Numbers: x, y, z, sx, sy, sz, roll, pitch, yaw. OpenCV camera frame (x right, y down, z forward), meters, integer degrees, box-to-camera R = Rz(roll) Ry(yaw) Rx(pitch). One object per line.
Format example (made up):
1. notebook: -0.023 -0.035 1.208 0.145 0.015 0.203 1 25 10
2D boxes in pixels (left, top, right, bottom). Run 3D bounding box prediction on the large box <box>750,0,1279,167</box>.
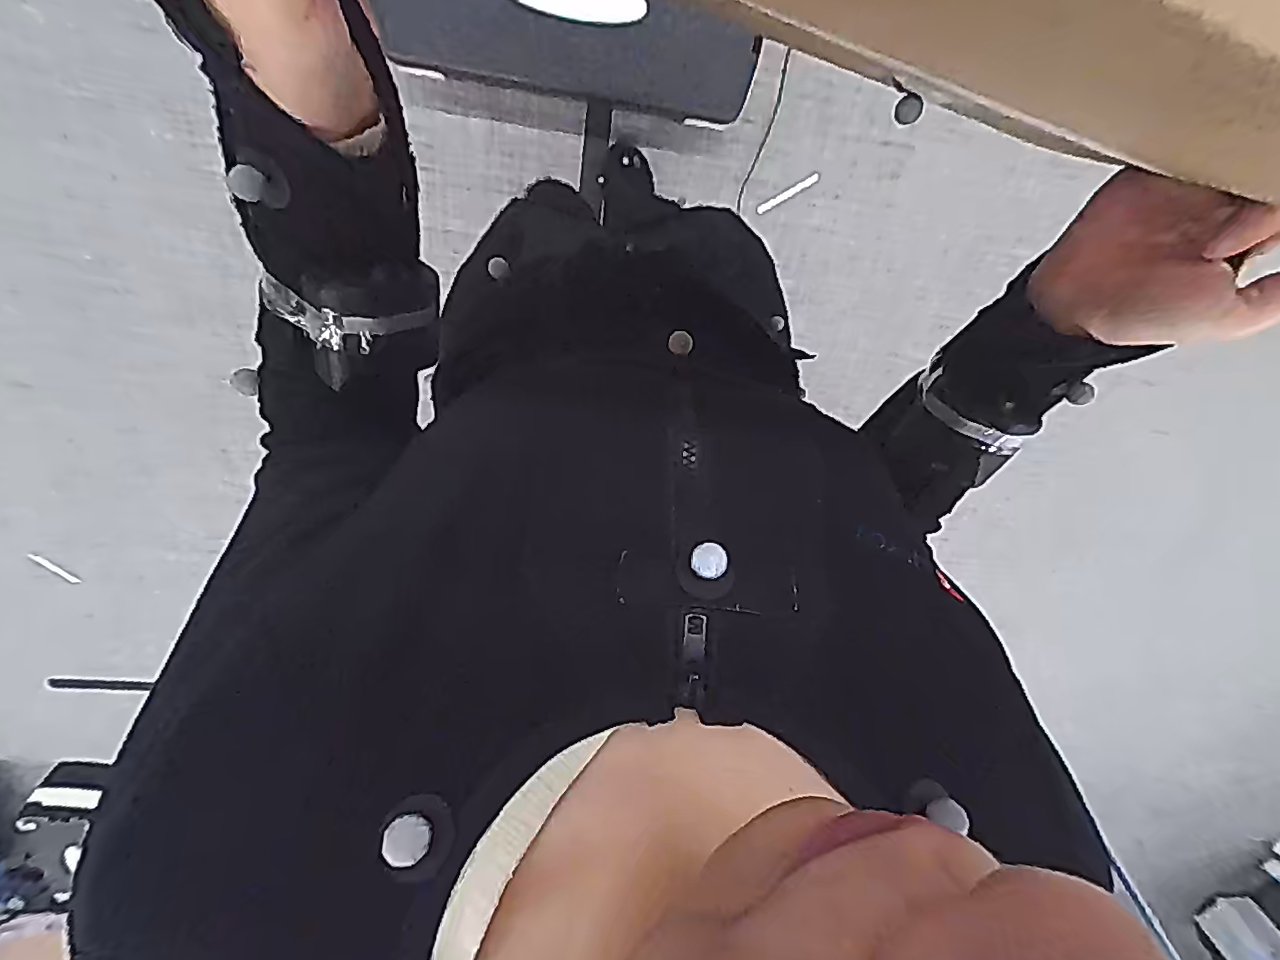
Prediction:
1. large box: 0.114 -0.293 0.101 0.408 0.320 0.320 10 129 -12
